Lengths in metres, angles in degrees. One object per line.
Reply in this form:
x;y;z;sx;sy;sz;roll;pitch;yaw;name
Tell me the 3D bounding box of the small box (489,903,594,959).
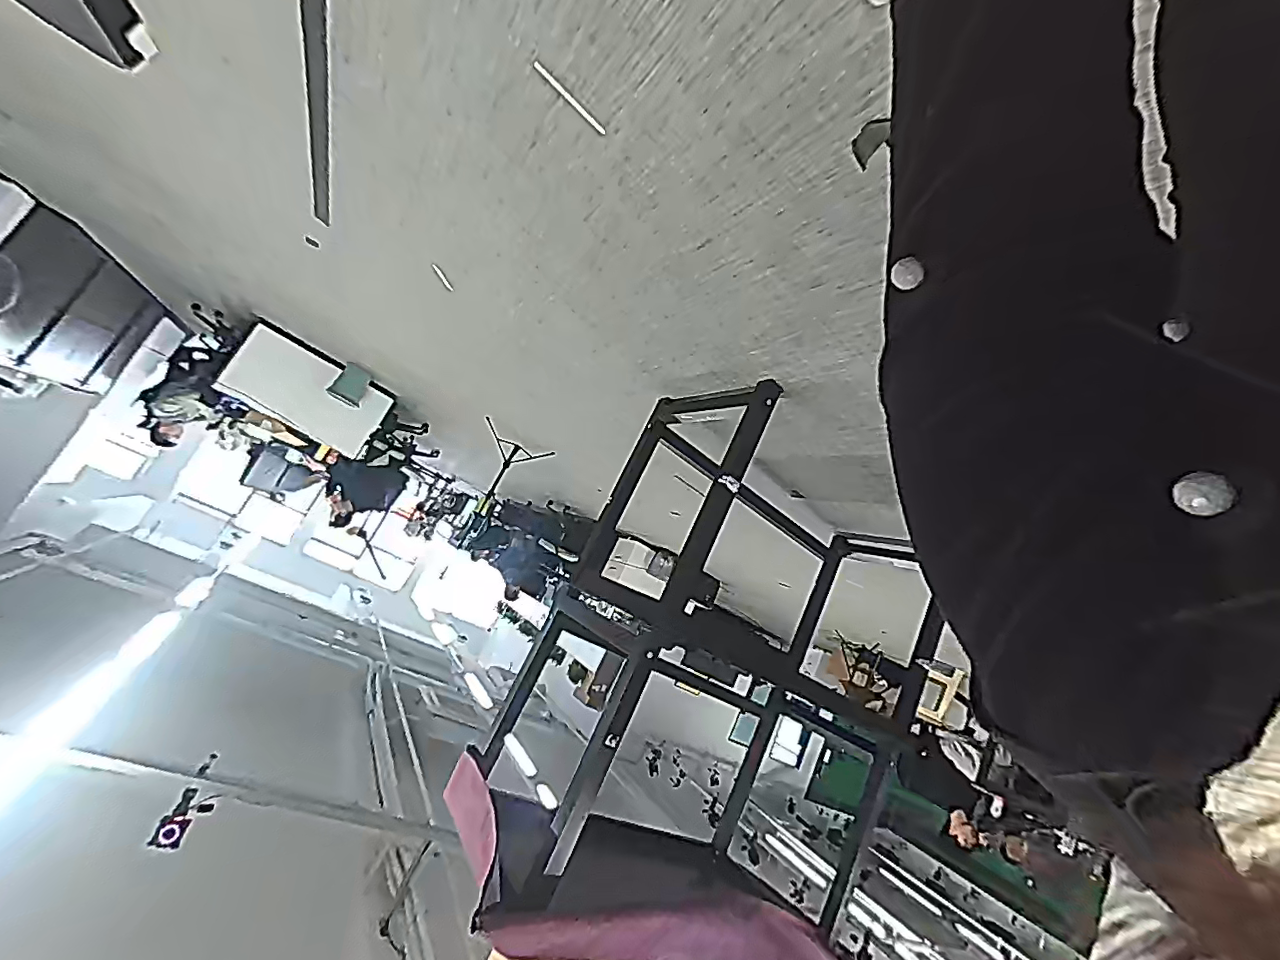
-0.243;1.150;1.288;0.179;0.176;0.168;34;166;-33;small box
